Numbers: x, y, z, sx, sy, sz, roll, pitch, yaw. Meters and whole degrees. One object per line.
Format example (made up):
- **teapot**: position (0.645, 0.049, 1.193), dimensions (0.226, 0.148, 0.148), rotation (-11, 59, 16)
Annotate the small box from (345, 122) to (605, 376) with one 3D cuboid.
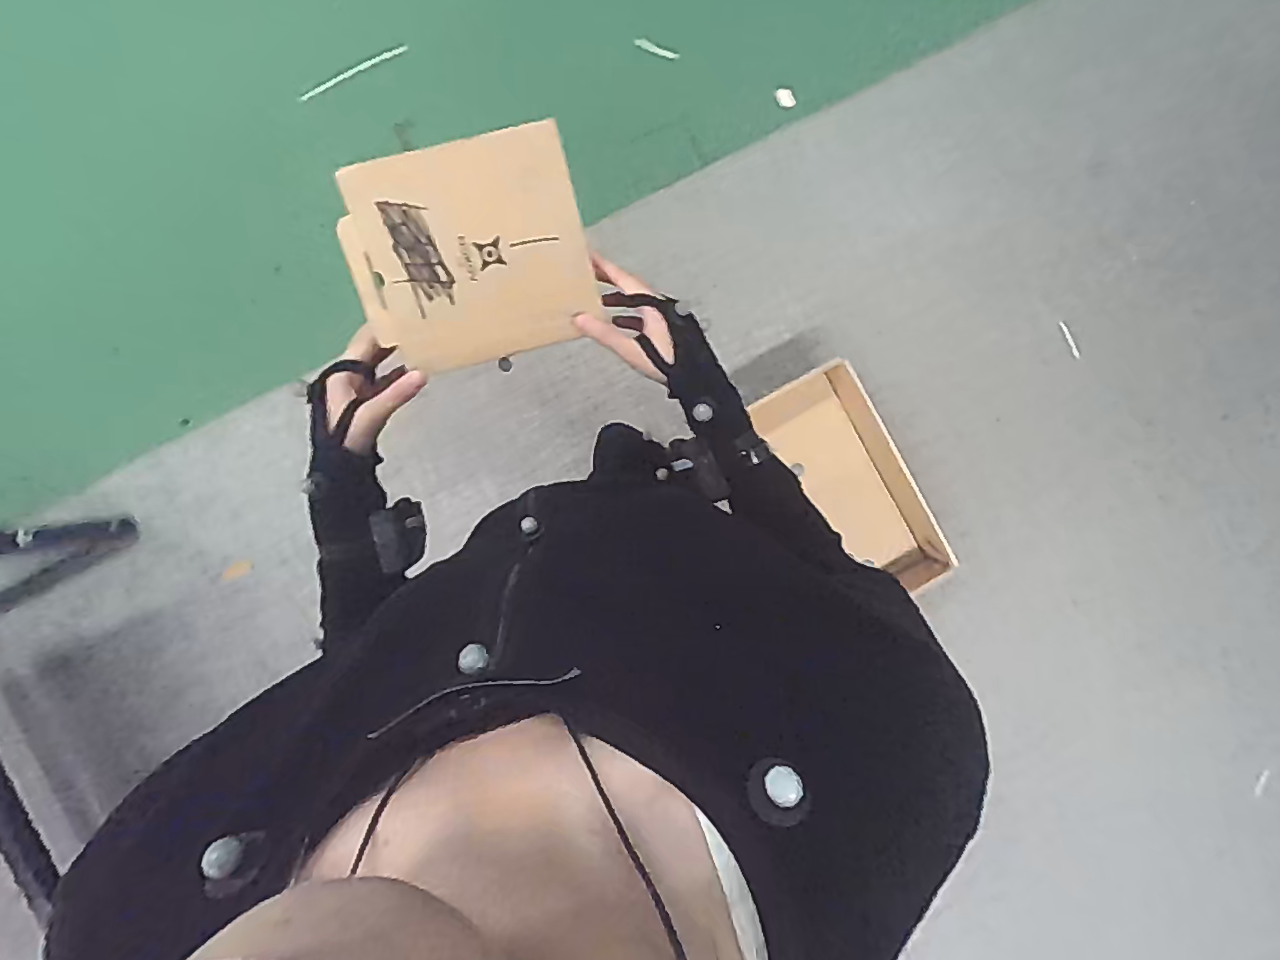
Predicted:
- **small box**: position (-0.137, -0.204, 0.523), dimensions (0.179, 0.176, 0.168), rotation (-16, 105, -1)
